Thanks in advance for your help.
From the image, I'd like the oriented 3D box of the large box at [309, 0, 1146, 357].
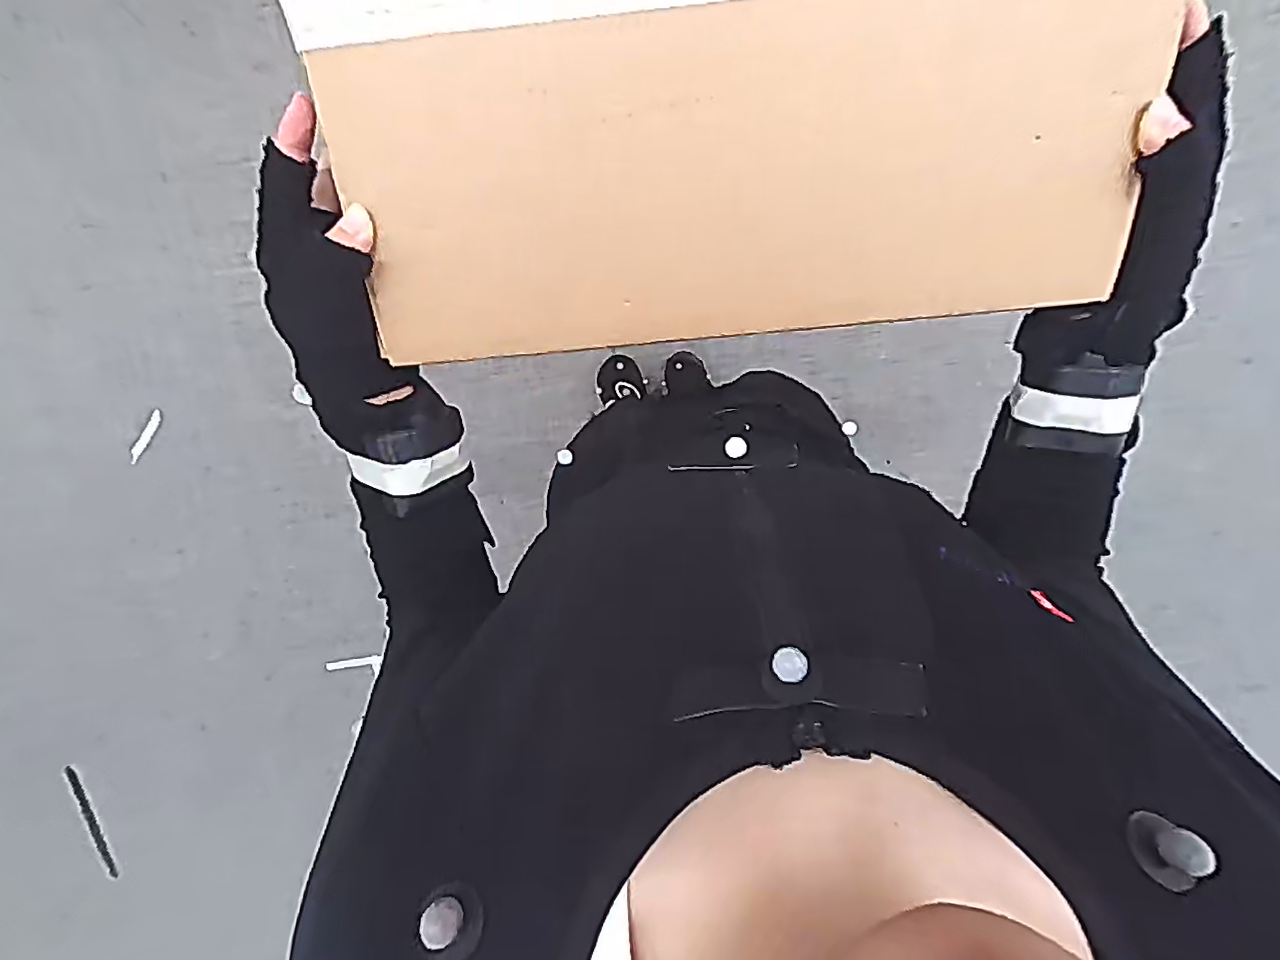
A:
[{"bbox_3d":[0.037,-0.290,0.391,0.408,0.320,0.320,-5,114,1],"label":"large box"}]
